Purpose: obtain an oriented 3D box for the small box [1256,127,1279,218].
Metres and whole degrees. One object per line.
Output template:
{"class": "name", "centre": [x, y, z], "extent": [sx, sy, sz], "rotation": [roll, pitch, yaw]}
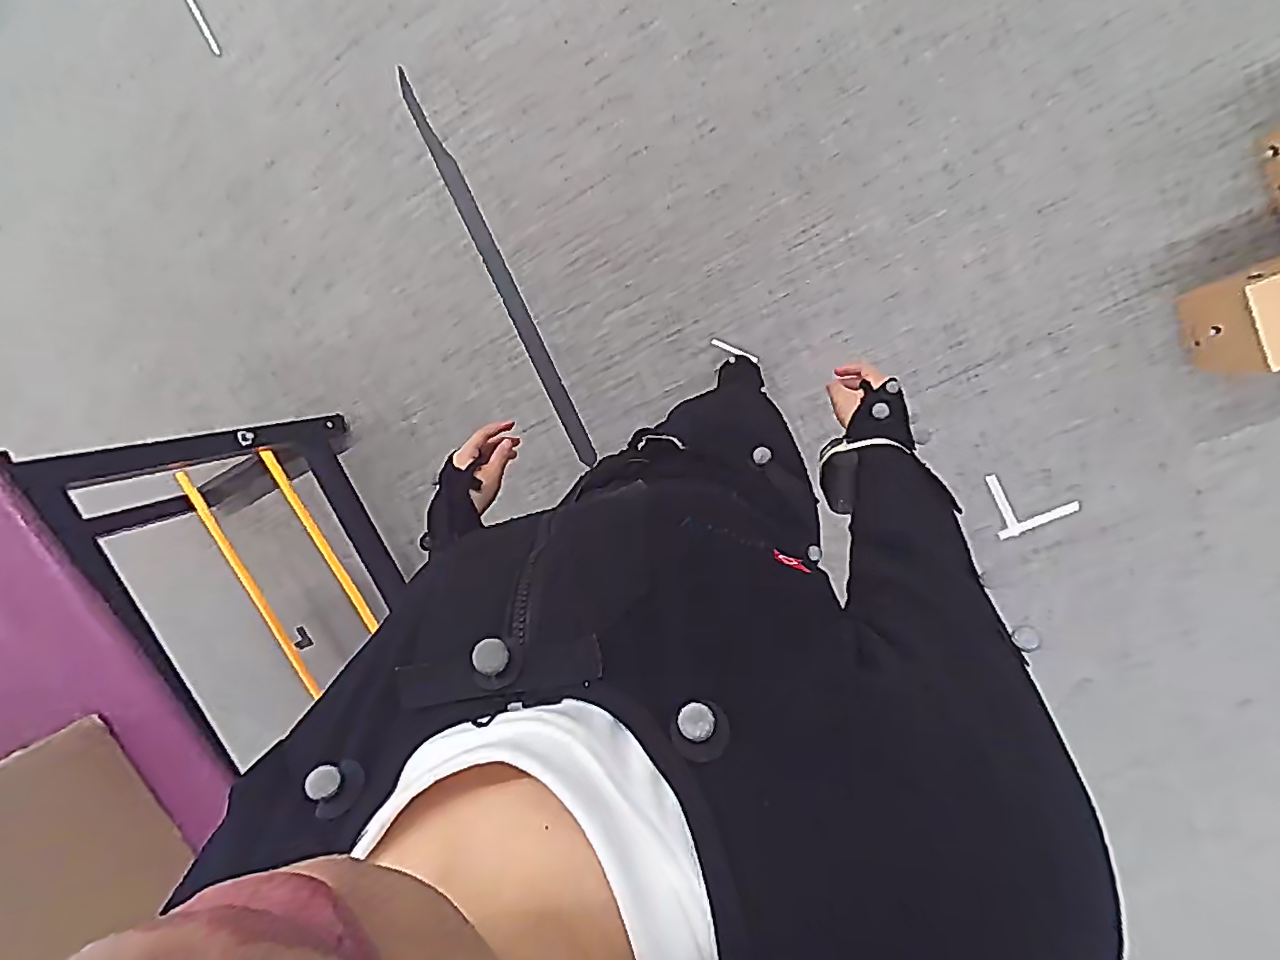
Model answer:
{"class": "small box", "centre": [1.260, -0.592, 0.948], "extent": [0.179, 0.176, 0.168], "rotation": [-26, 96, 14]}
